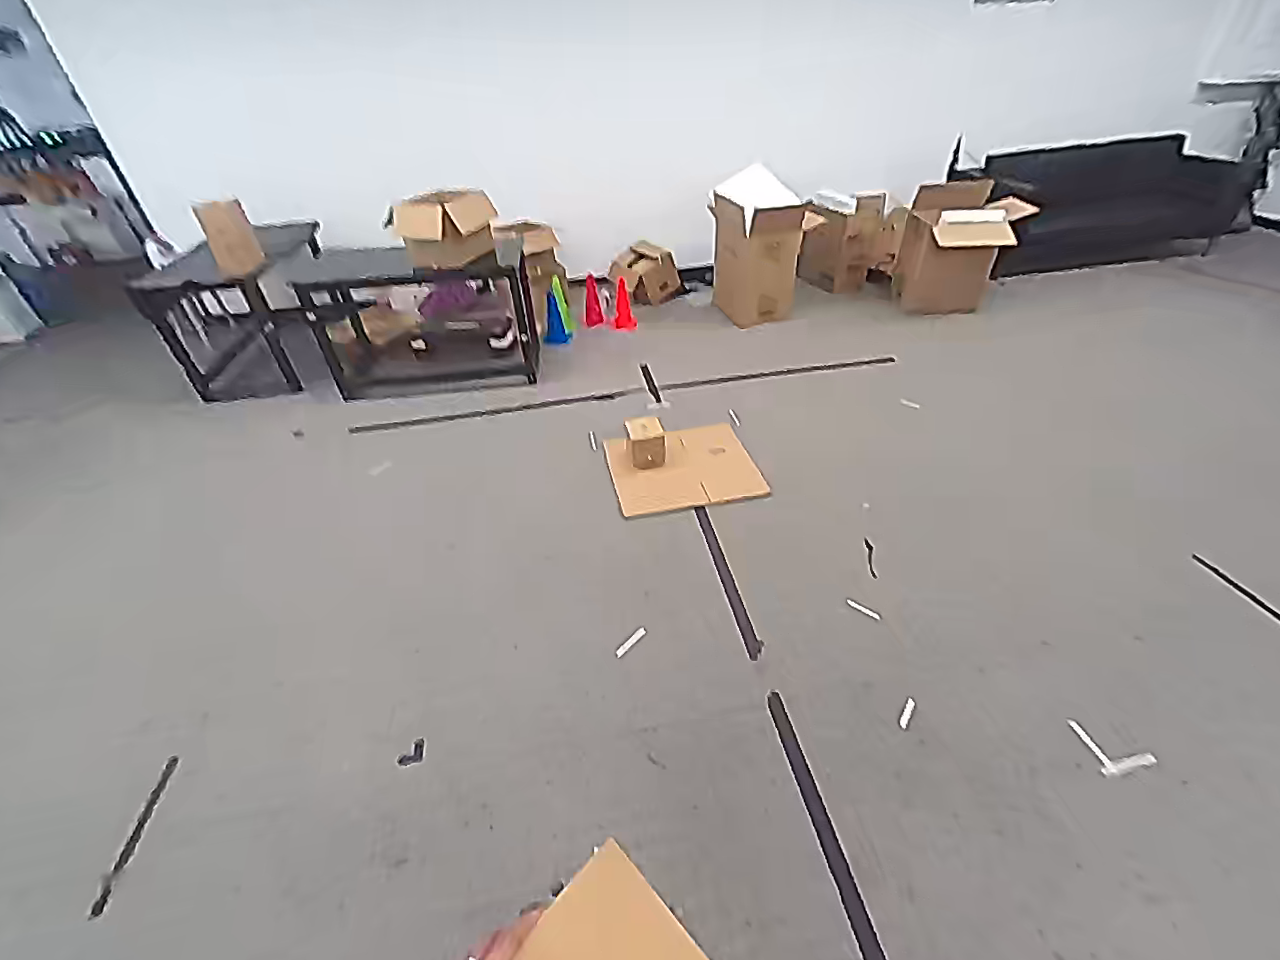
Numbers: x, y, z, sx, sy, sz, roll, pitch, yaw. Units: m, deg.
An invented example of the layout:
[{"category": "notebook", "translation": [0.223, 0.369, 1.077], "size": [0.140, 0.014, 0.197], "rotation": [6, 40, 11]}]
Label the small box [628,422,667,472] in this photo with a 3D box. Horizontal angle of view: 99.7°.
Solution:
[{"category": "small box", "translation": [0.035, -0.165, 2.692], "size": [0.168, 0.176, 0.179], "rotation": [-10, 39, -8]}]

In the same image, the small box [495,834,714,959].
[{"category": "small box", "translation": [-0.038, 0.503, 0.533], "size": [0.179, 0.176, 0.168], "rotation": [40, 52, 23]}]
